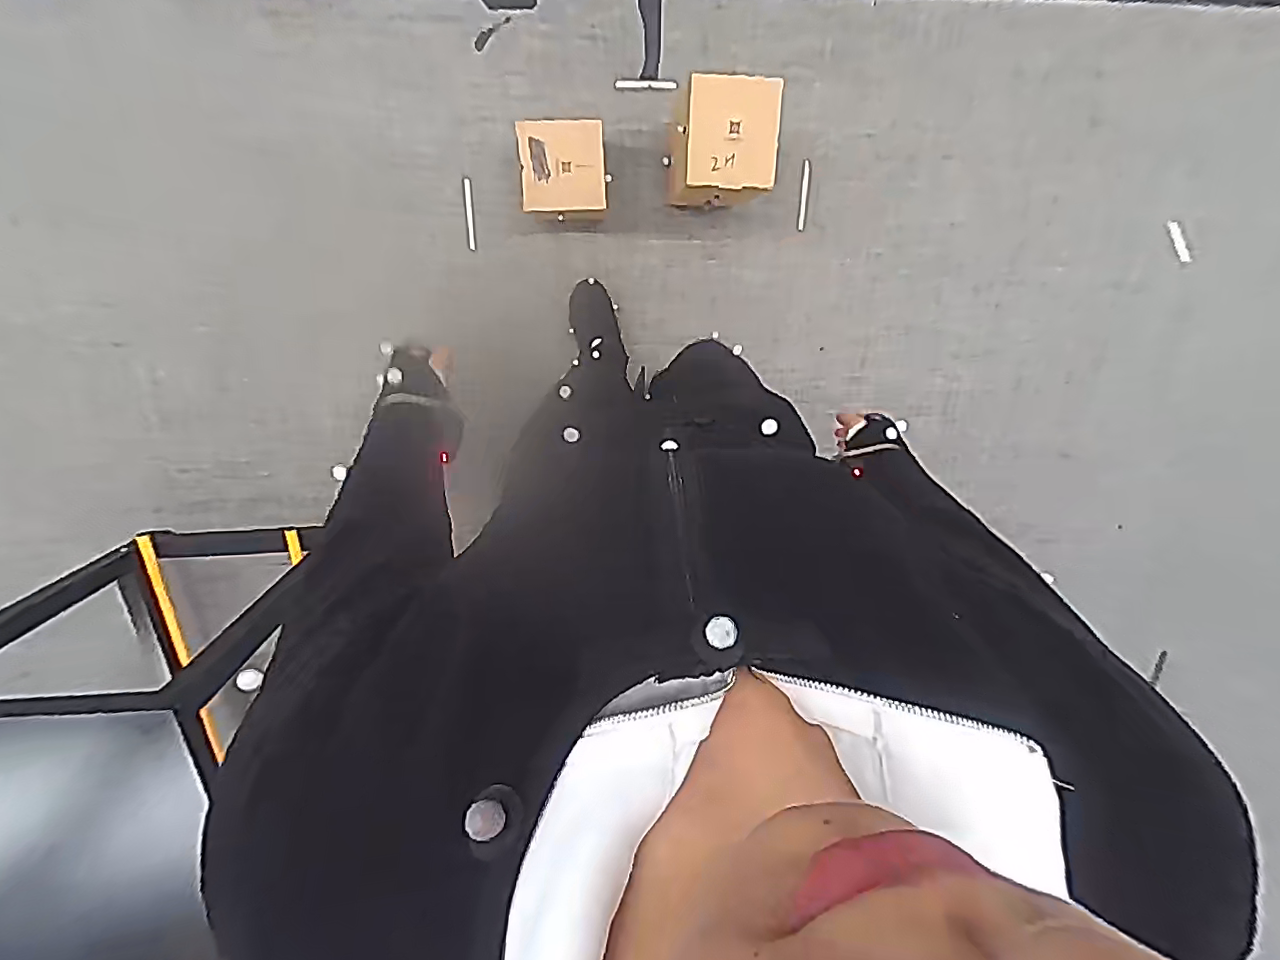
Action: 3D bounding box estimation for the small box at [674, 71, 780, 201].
[{"bbox_3d":[0.158,-0.652,1.043,0.168,0.176,0.179,0,110,-4],"label":"small box"}]

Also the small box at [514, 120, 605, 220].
[{"bbox_3d":[-0.168,-0.672,1.186,0.179,0.176,0.168,-3,110,-3],"label":"small box"}]

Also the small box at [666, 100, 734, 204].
[{"bbox_3d":[0.149,-0.715,1.197,0.168,0.176,0.179,-2,111,-3],"label":"small box"}]
